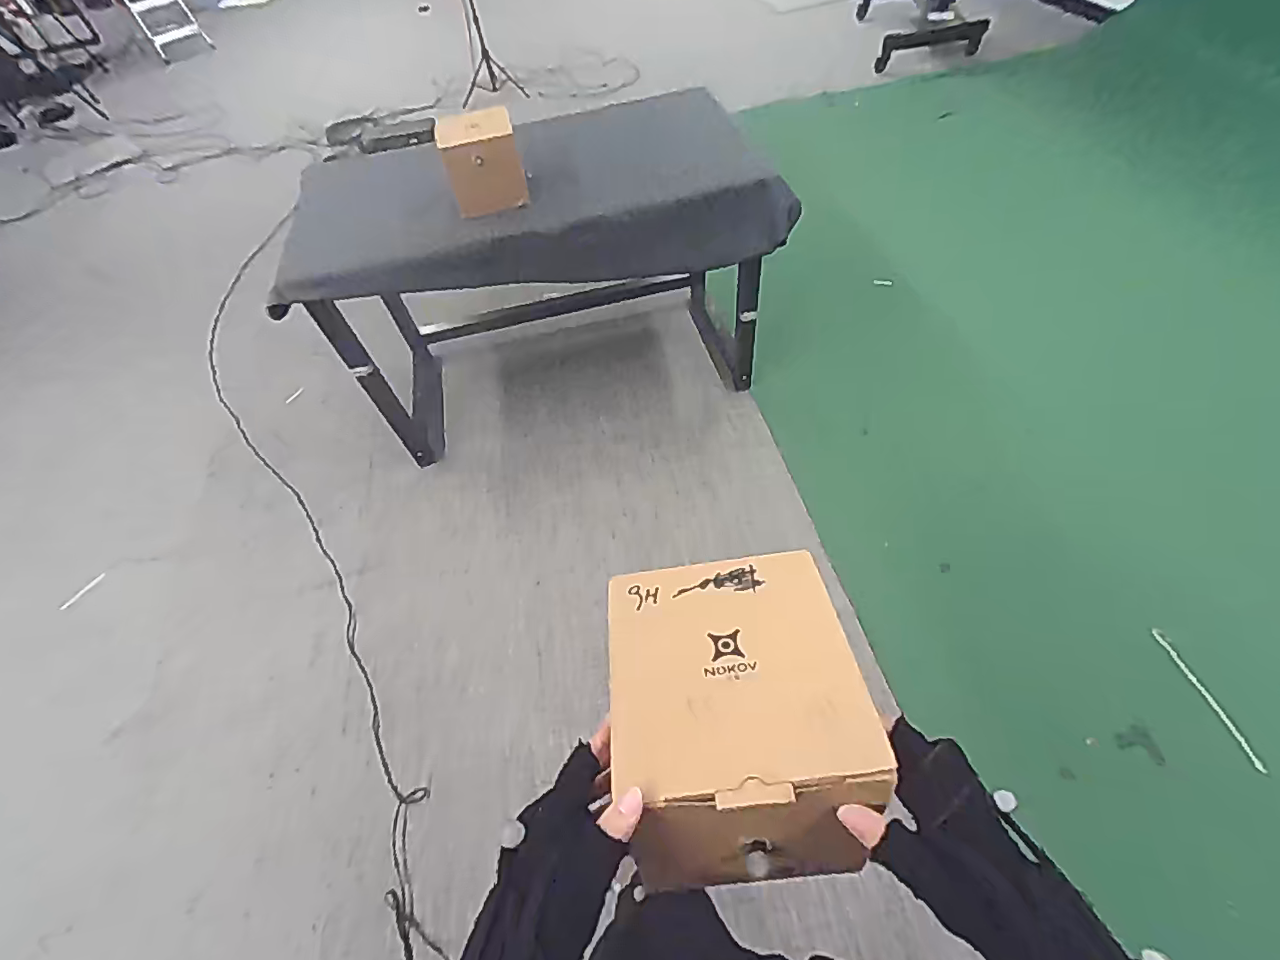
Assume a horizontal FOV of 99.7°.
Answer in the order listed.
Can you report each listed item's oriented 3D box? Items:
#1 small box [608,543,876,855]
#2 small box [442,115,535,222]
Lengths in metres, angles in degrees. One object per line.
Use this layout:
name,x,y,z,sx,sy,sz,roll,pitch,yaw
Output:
small box,0.070,0.180,0.438,0.168,0.176,0.179,-8,40,3
small box,-0.371,-0.761,1.330,0.179,0.176,0.168,-14,55,-5
